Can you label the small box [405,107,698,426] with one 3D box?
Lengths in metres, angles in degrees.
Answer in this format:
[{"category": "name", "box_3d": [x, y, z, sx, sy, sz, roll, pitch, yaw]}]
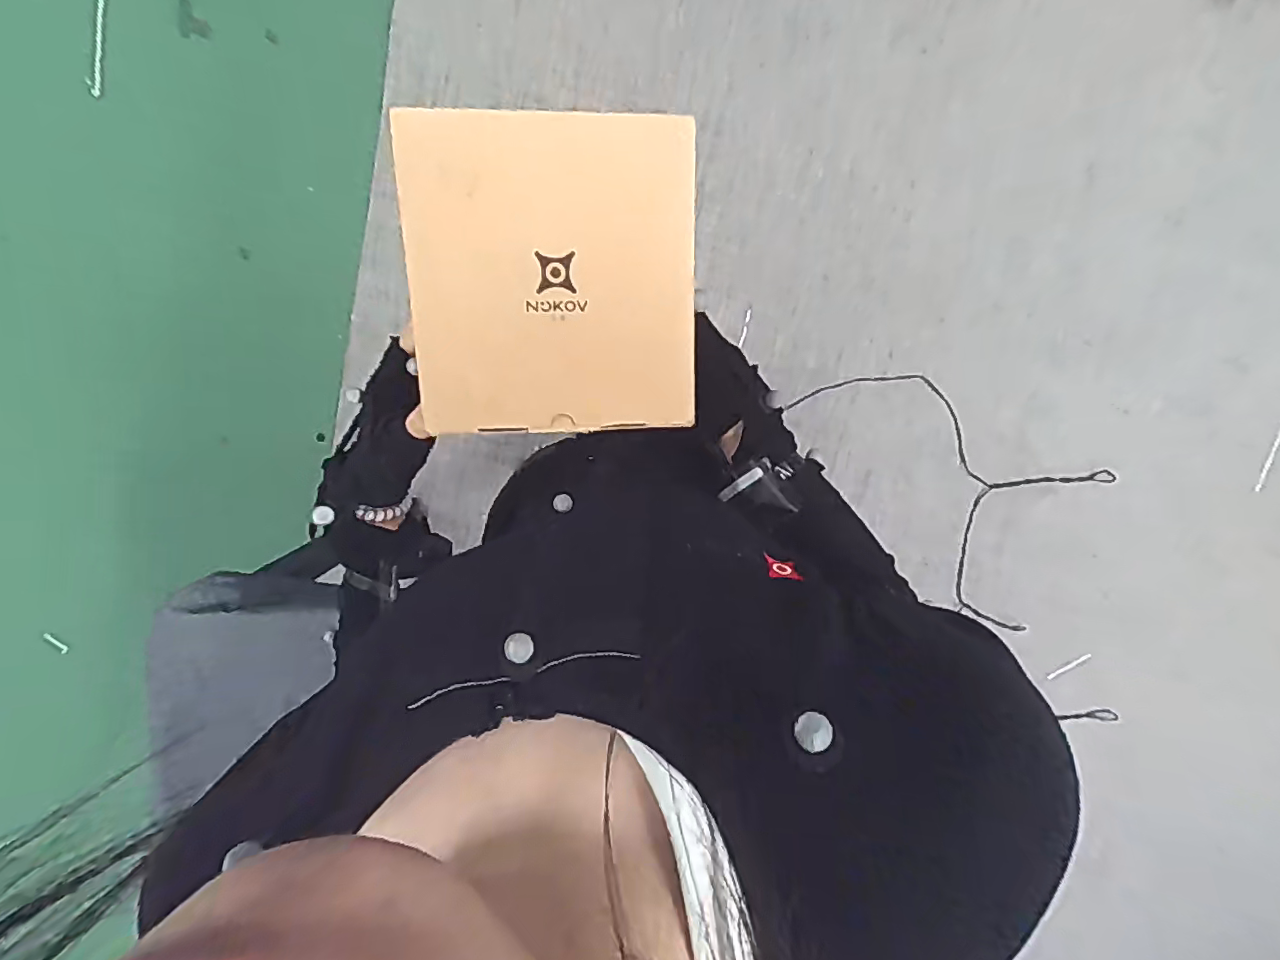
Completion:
[{"category": "small box", "box_3d": [-0.056, -0.139, 0.397, 0.168, 0.176, 0.179, -3, 105, -6]}]
